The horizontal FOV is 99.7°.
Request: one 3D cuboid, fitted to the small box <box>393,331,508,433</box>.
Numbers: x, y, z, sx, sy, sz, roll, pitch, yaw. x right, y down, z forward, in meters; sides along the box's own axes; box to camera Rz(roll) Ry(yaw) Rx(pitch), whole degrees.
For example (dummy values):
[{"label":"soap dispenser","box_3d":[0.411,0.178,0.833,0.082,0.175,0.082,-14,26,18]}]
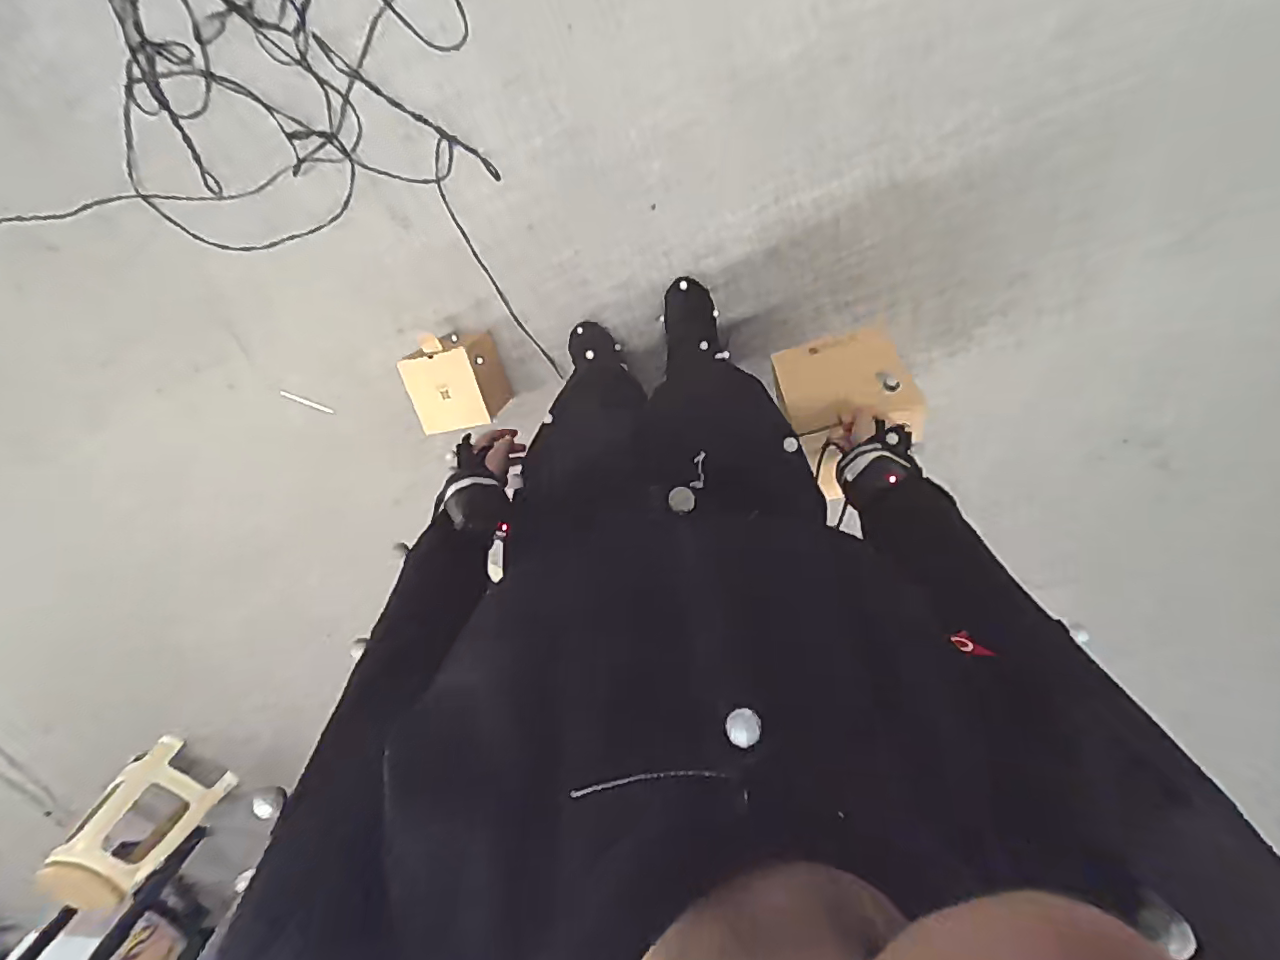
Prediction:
[{"label":"small box","box_3d":[-0.424,-0.230,1.247,0.168,0.176,0.179,-9,115,10]}]
